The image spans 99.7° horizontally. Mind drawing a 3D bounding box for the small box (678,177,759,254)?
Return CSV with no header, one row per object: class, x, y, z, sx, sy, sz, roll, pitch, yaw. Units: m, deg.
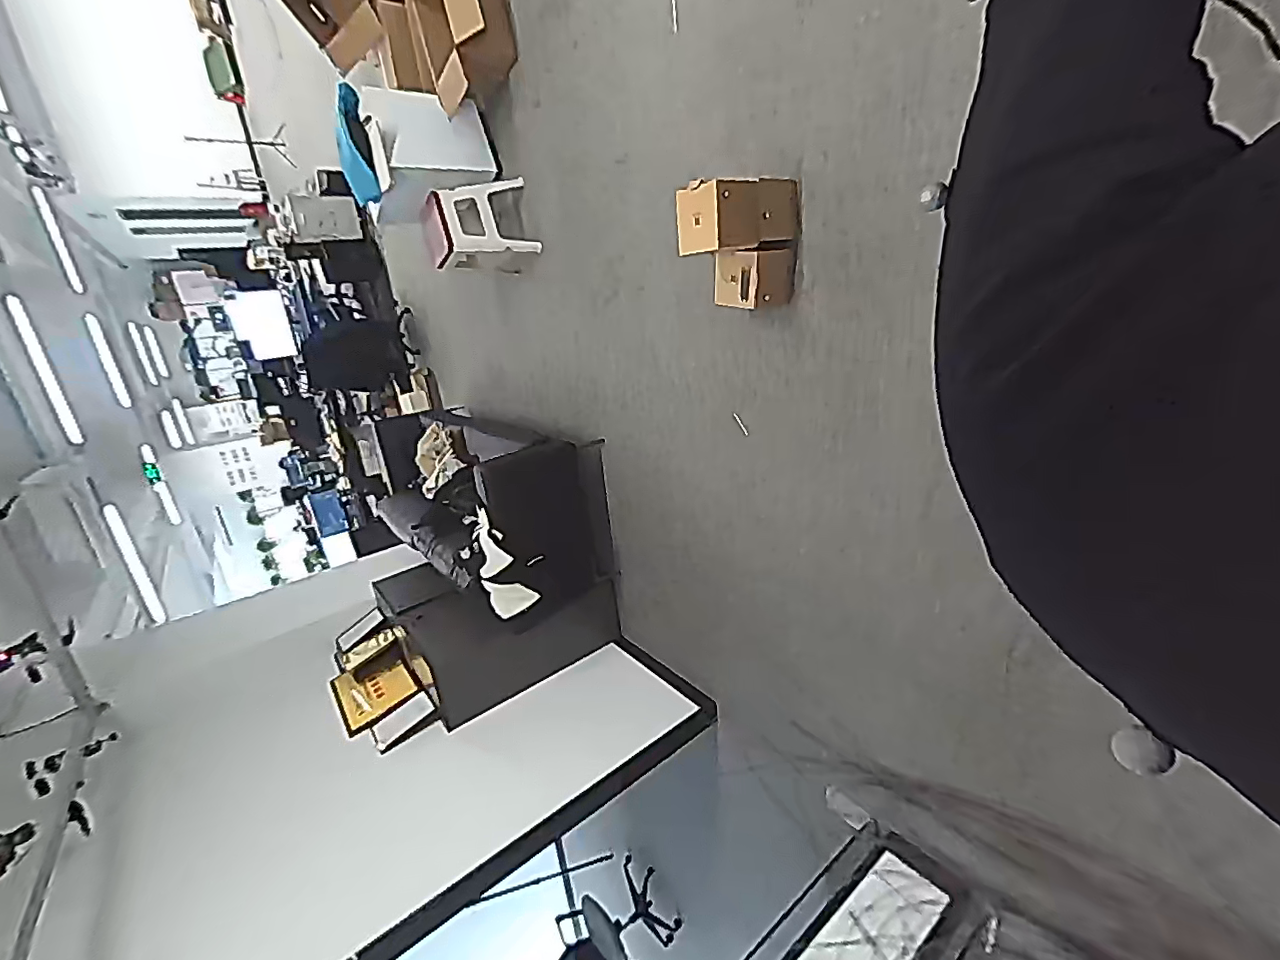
small box,0.230,-0.762,1.566,0.168,0.176,0.179,18,120,50
